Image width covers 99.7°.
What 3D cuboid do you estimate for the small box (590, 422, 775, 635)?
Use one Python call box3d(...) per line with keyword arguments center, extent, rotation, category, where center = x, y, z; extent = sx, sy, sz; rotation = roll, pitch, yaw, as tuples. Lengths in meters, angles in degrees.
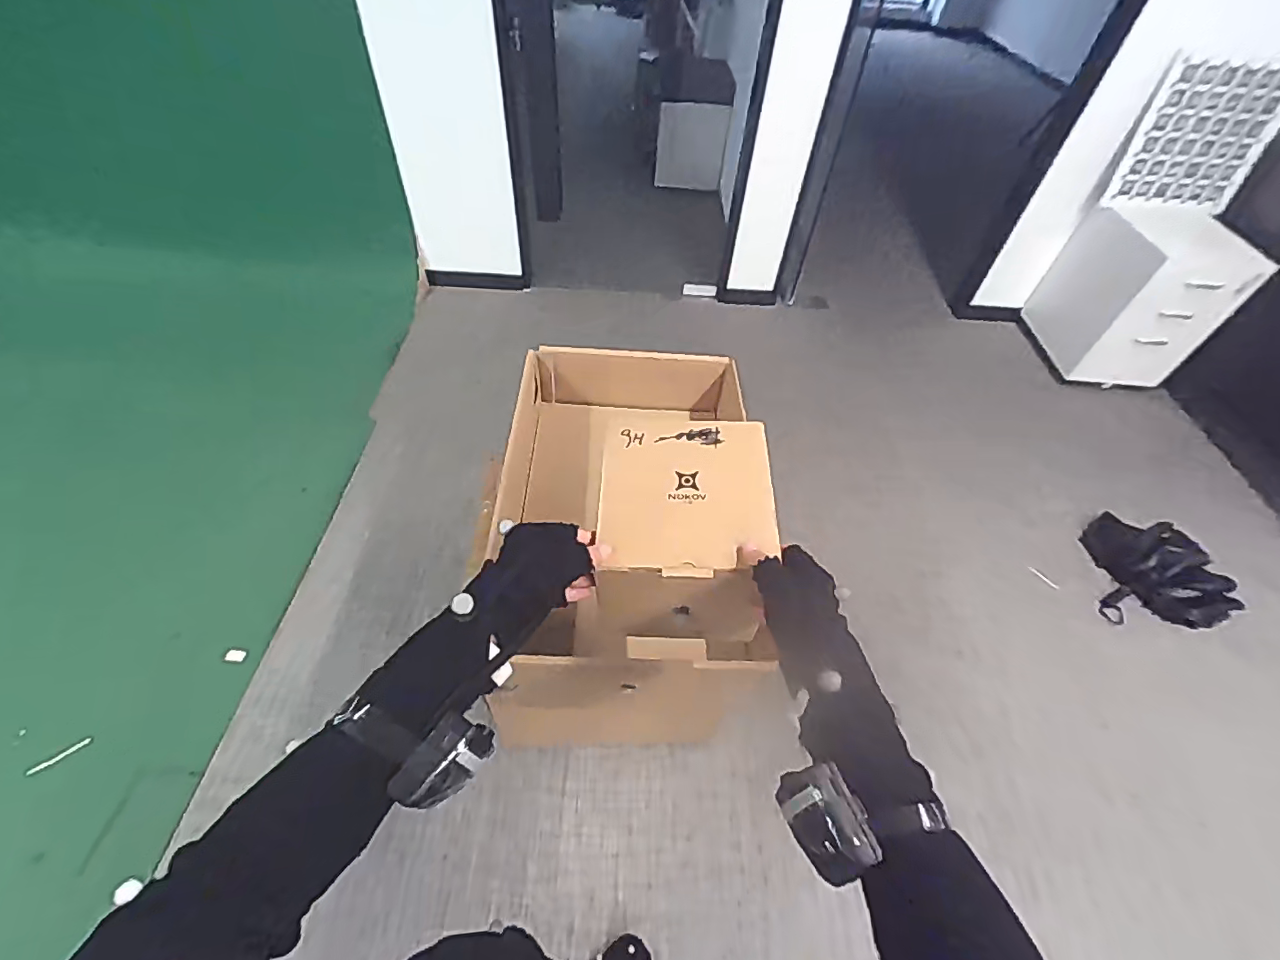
box3d(center=(0.042, 0.057, 0.583), extent=(0.168, 0.176, 0.179), rotation=(1, 54, 2), category="small box")
